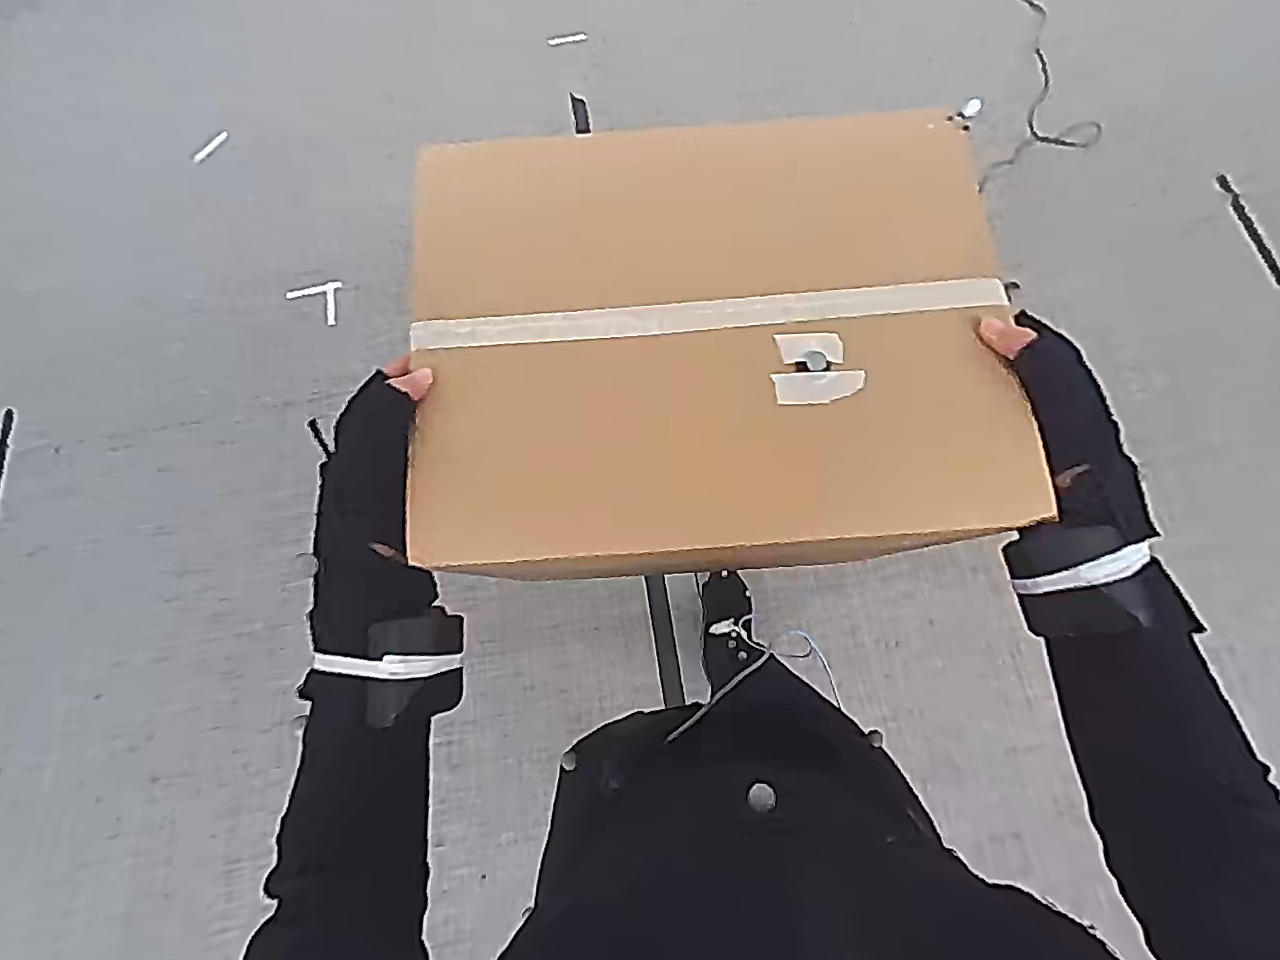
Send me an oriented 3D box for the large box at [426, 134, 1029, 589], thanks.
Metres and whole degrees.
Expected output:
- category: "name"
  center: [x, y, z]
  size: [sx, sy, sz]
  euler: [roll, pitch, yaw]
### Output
- category: "large box"
  center: [0.047, -0.069, 0.529]
  size: [0.408, 0.320, 0.320]
  euler: [-5, 78, 0]
